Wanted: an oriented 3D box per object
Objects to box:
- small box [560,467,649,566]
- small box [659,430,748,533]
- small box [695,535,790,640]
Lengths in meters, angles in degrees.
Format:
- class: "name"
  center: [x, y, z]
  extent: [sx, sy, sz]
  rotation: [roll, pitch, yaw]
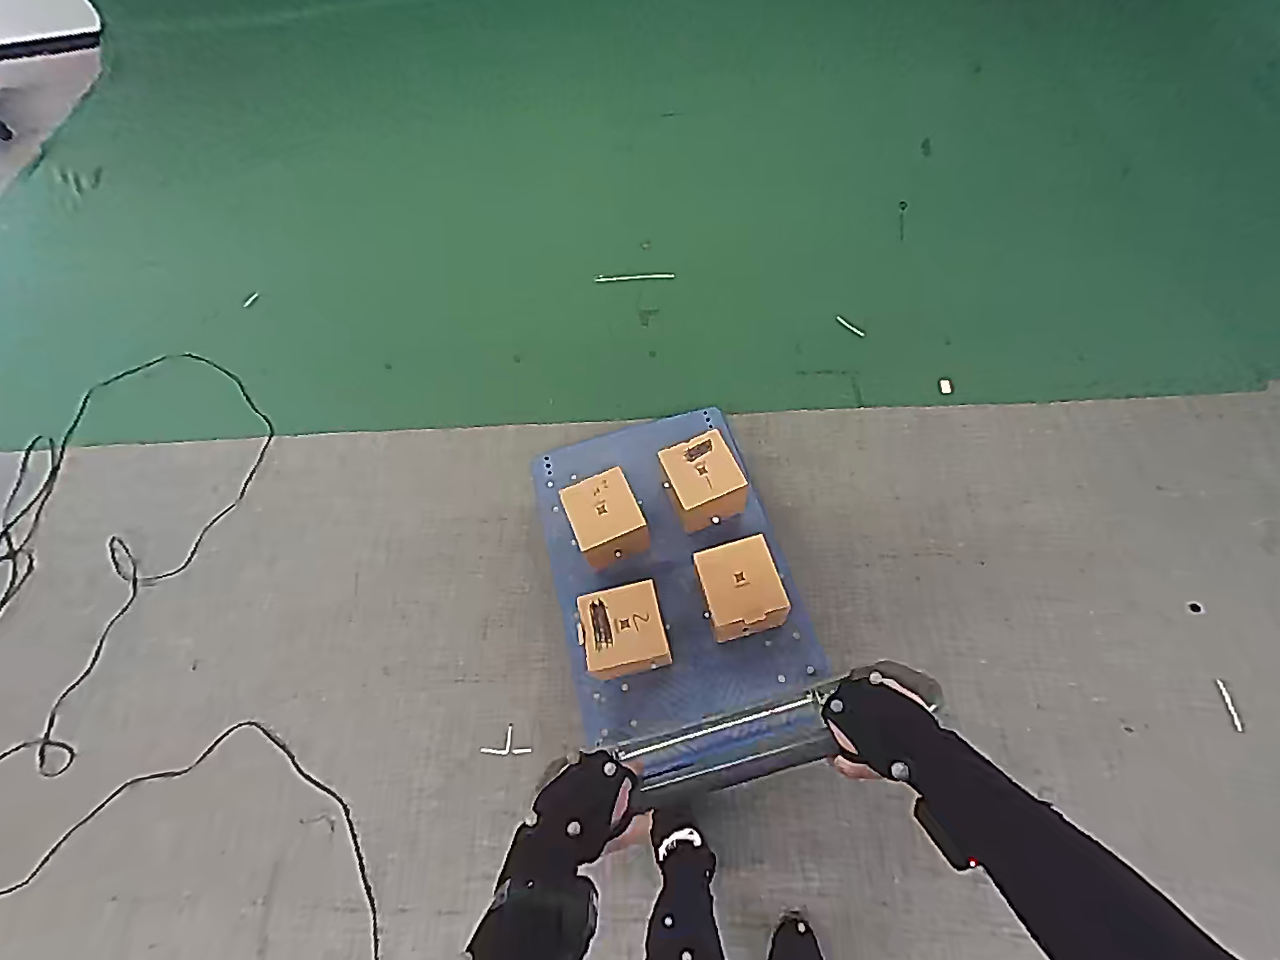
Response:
- class: "small box"
  center: [-0.083, 0.102, 1.365]
  extent: [0.168, 0.176, 0.179]
  rotation: [-22, 63, -6]
- class: "small box"
  center: [0.159, 0.008, 1.385]
  extent: [0.168, 0.176, 0.179]
  rotation: [-22, 64, -4]
- class: "small box"
  center: [0.229, 0.254, 1.254]
  extent: [0.168, 0.176, 0.179]
  rotation: [-16, 63, -1]
